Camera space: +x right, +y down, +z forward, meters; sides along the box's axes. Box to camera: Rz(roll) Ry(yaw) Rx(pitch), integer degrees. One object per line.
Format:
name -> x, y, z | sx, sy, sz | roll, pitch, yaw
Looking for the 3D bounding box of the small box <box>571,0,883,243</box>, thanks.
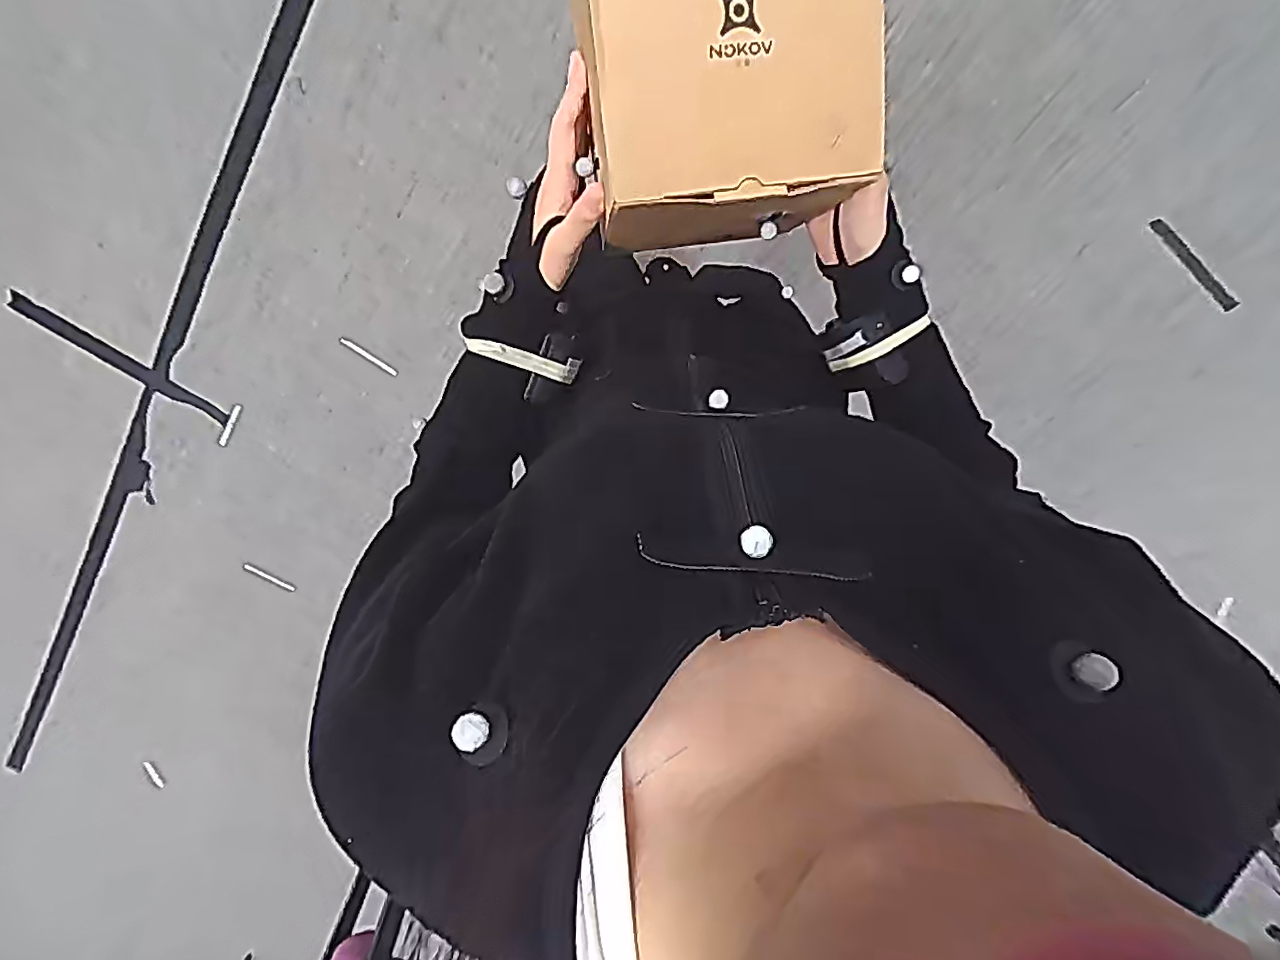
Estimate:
small box -> 0.045, -0.271, 0.371 | 0.168, 0.176, 0.179 | -9, 103, -4
